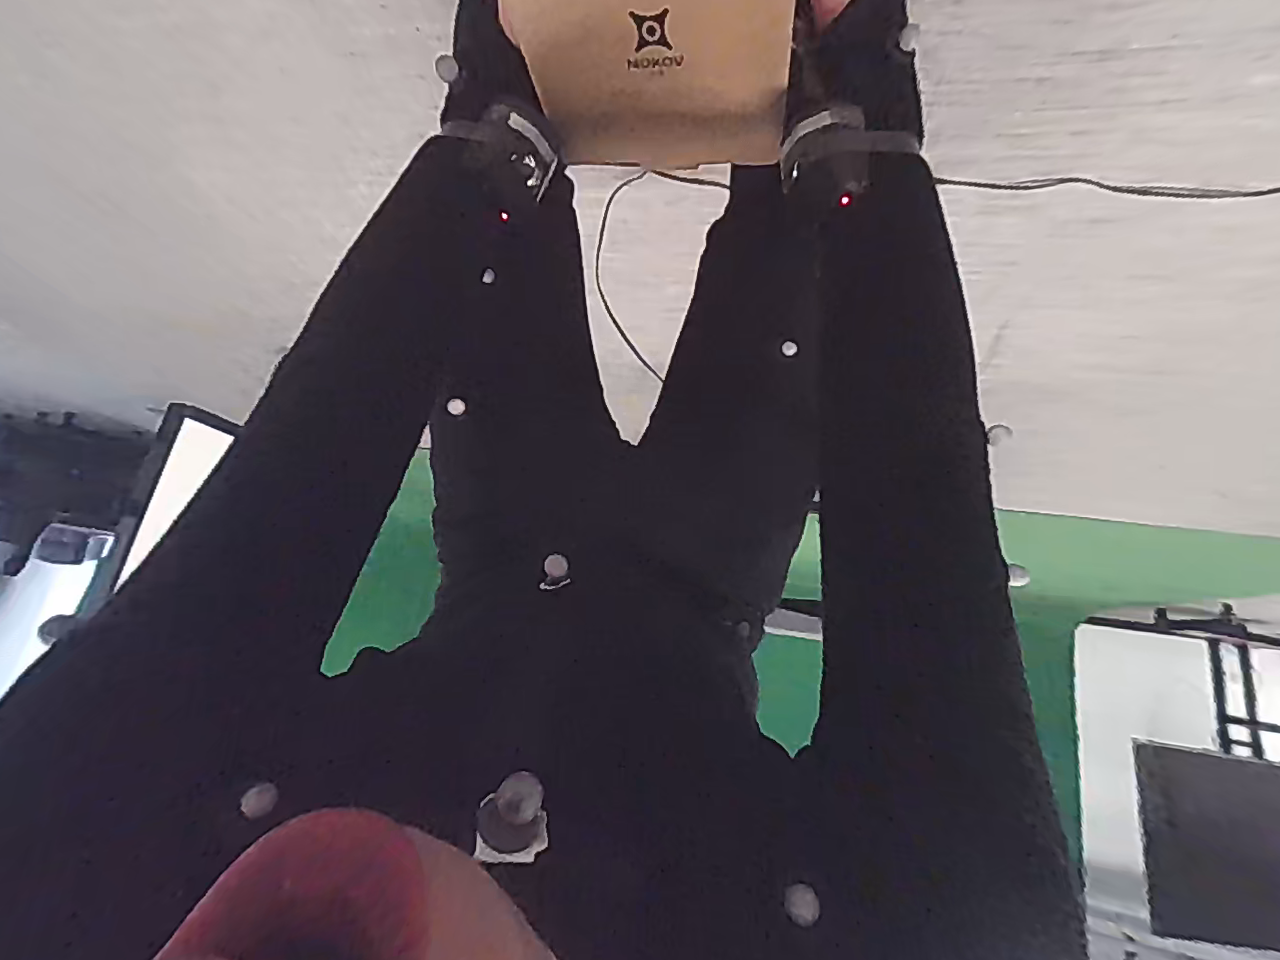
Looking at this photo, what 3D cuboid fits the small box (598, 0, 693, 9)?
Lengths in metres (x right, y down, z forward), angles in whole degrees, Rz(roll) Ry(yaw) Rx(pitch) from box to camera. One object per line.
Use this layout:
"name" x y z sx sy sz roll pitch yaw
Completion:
"small box" 0.041 -0.491 0.380 0.168 0.176 0.179 6 164 13
